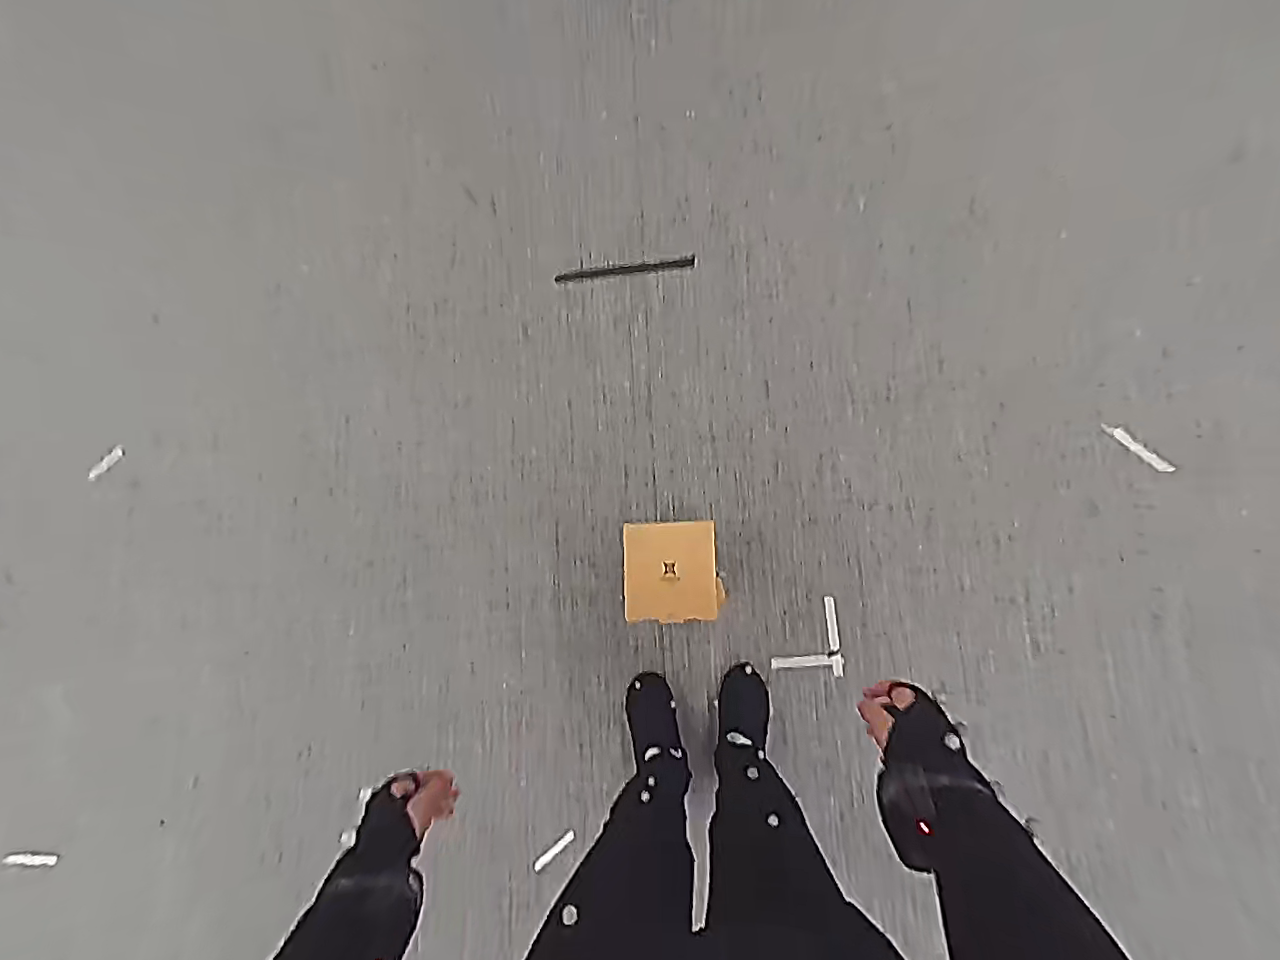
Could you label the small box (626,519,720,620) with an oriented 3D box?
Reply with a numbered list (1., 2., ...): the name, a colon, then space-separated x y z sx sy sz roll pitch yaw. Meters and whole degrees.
1. small box: 0.064 0.170 1.034 0.168 0.176 0.179 -3 82 6
